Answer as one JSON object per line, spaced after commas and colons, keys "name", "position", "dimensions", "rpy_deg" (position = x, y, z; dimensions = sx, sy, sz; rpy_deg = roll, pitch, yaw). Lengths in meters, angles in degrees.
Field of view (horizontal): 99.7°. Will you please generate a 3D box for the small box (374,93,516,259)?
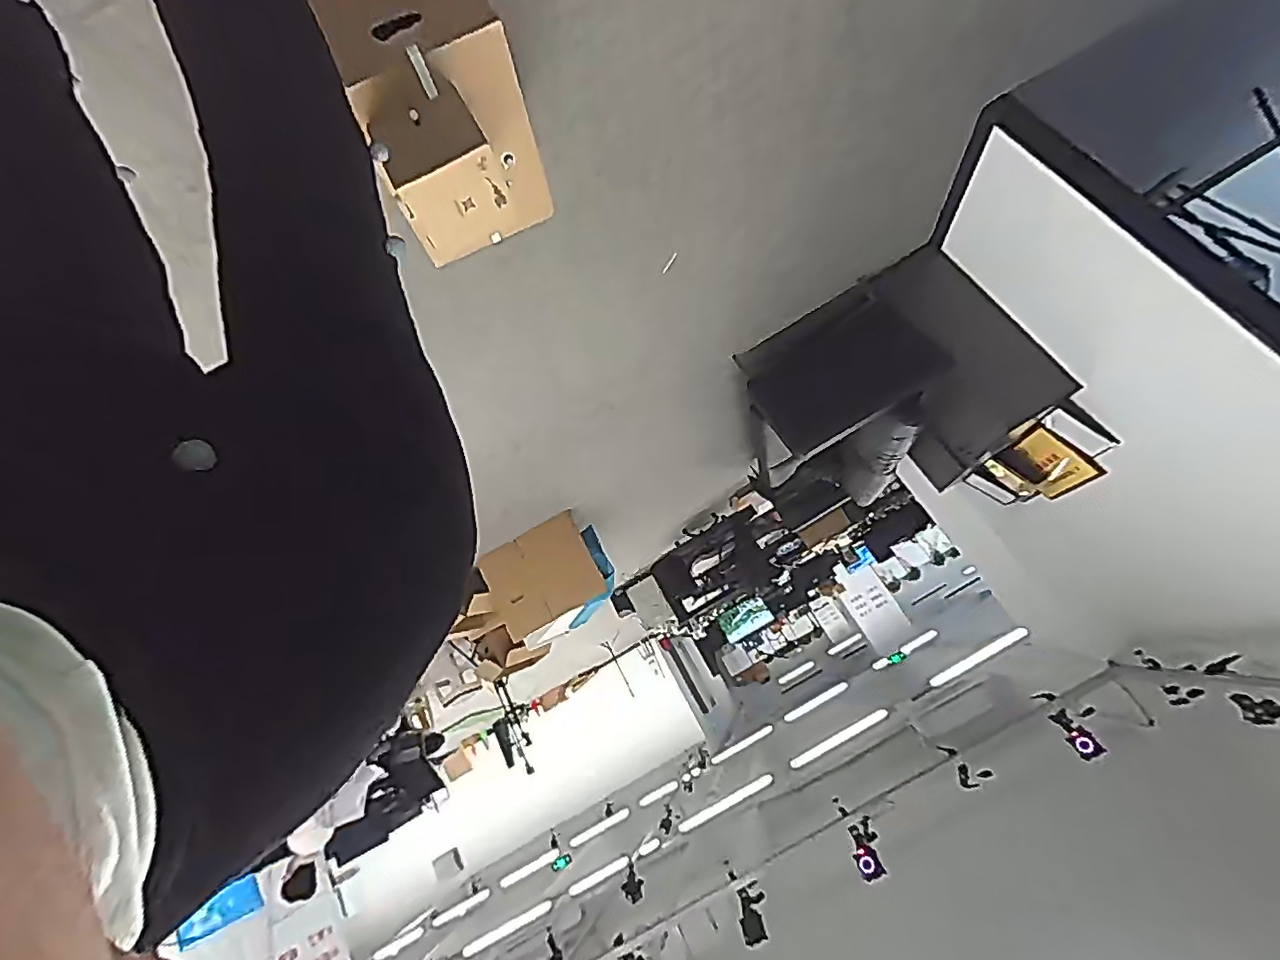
{"name": "small box", "position": [-0.358, -0.553, 0.989], "dimensions": [0.179, 0.176, 0.168], "rpy_deg": [-28, 160, -3]}
